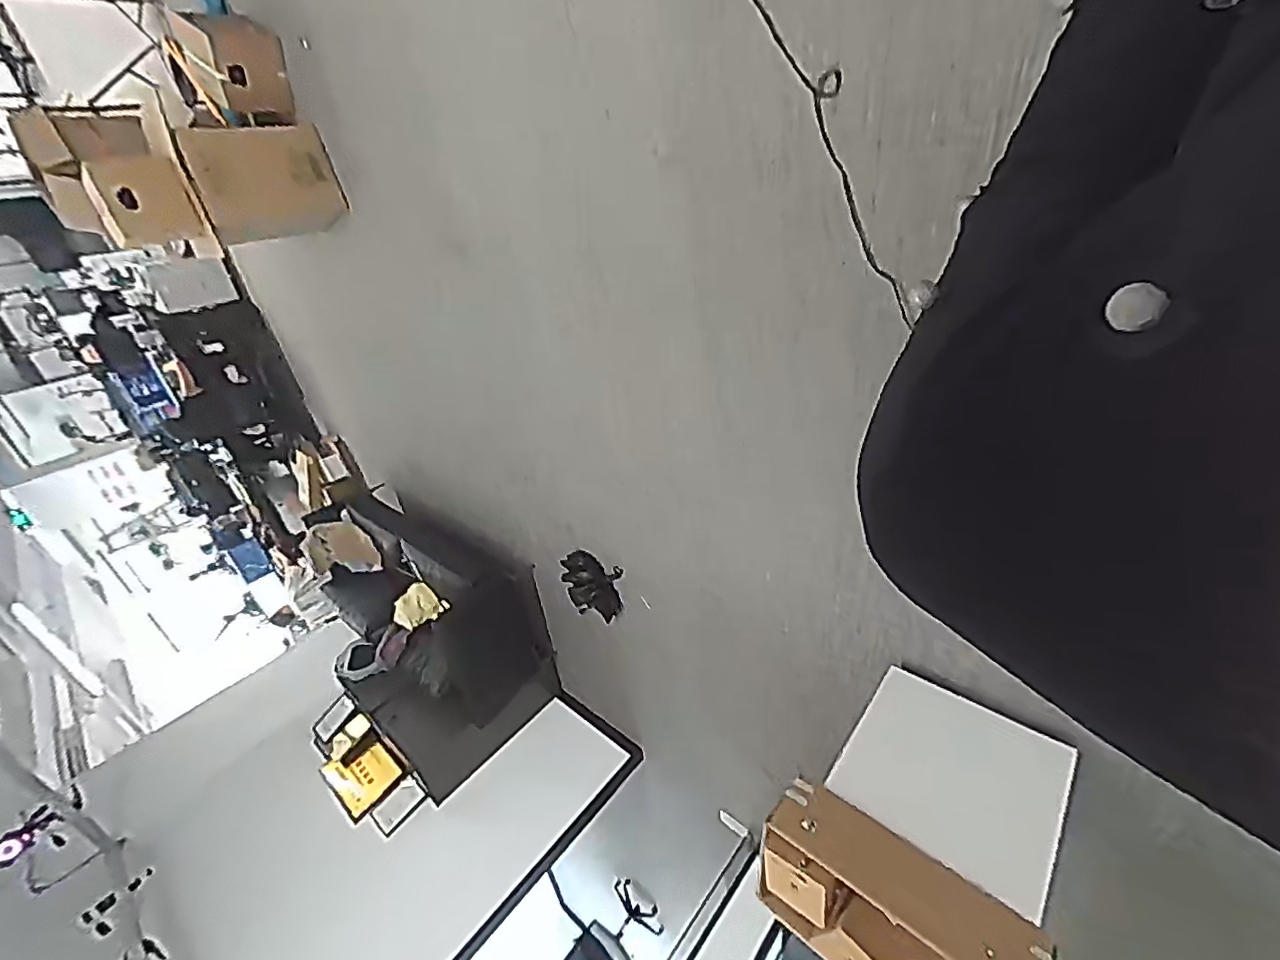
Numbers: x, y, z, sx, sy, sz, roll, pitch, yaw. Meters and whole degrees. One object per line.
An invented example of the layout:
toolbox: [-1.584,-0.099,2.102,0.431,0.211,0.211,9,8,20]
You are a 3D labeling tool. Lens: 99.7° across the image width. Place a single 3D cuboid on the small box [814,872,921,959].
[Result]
small box: [0.586,1.162,1.388,0.168,0.176,0.179,37,132,24]
